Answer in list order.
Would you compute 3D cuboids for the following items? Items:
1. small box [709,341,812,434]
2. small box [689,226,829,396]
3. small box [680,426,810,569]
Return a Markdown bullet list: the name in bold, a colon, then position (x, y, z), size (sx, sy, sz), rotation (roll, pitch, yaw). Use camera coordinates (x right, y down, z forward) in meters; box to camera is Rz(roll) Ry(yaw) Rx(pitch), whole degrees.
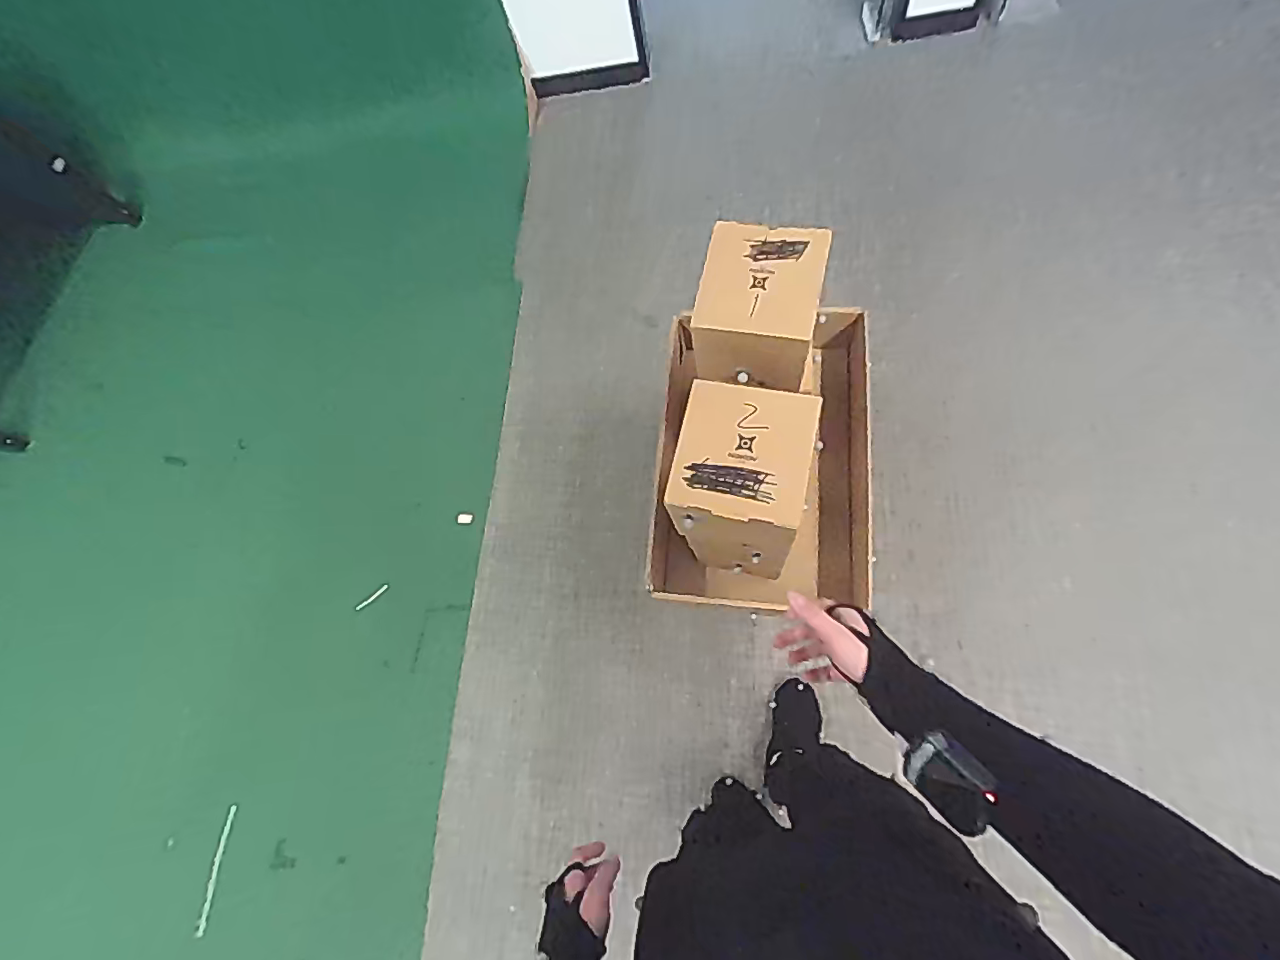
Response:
- **small box**: position (0.213, -0.197, 0.973), size (0.168, 0.176, 0.179), rotation (2, 73, 11)
- **small box**: position (0.179, -0.251, 0.822), size (0.168, 0.176, 0.179), rotation (11, 76, 15)
- **small box**: position (0.175, 0.036, 0.895), size (0.168, 0.176, 0.179), rotation (13, 73, 15)
